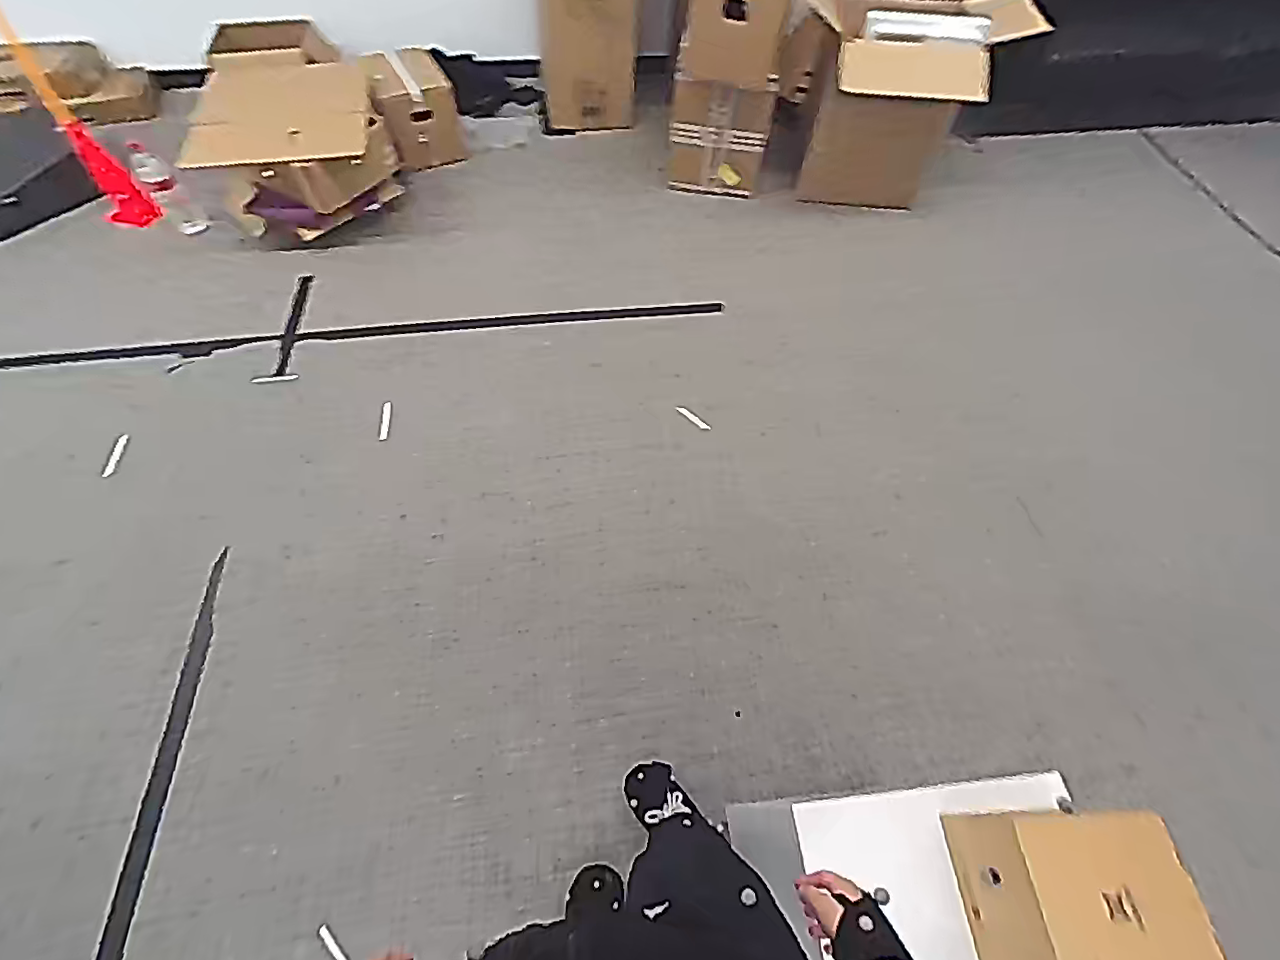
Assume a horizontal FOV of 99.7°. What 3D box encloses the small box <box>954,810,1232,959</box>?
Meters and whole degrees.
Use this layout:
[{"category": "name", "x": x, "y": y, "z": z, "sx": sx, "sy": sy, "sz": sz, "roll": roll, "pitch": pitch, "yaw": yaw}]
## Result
[{"category": "small box", "x": 0.501, "y": 0.484, "z": 0.628, "sx": 0.179, "sy": 0.176, "sz": 0.168, "roll": -1, "pitch": 59, "yaw": -3}]
